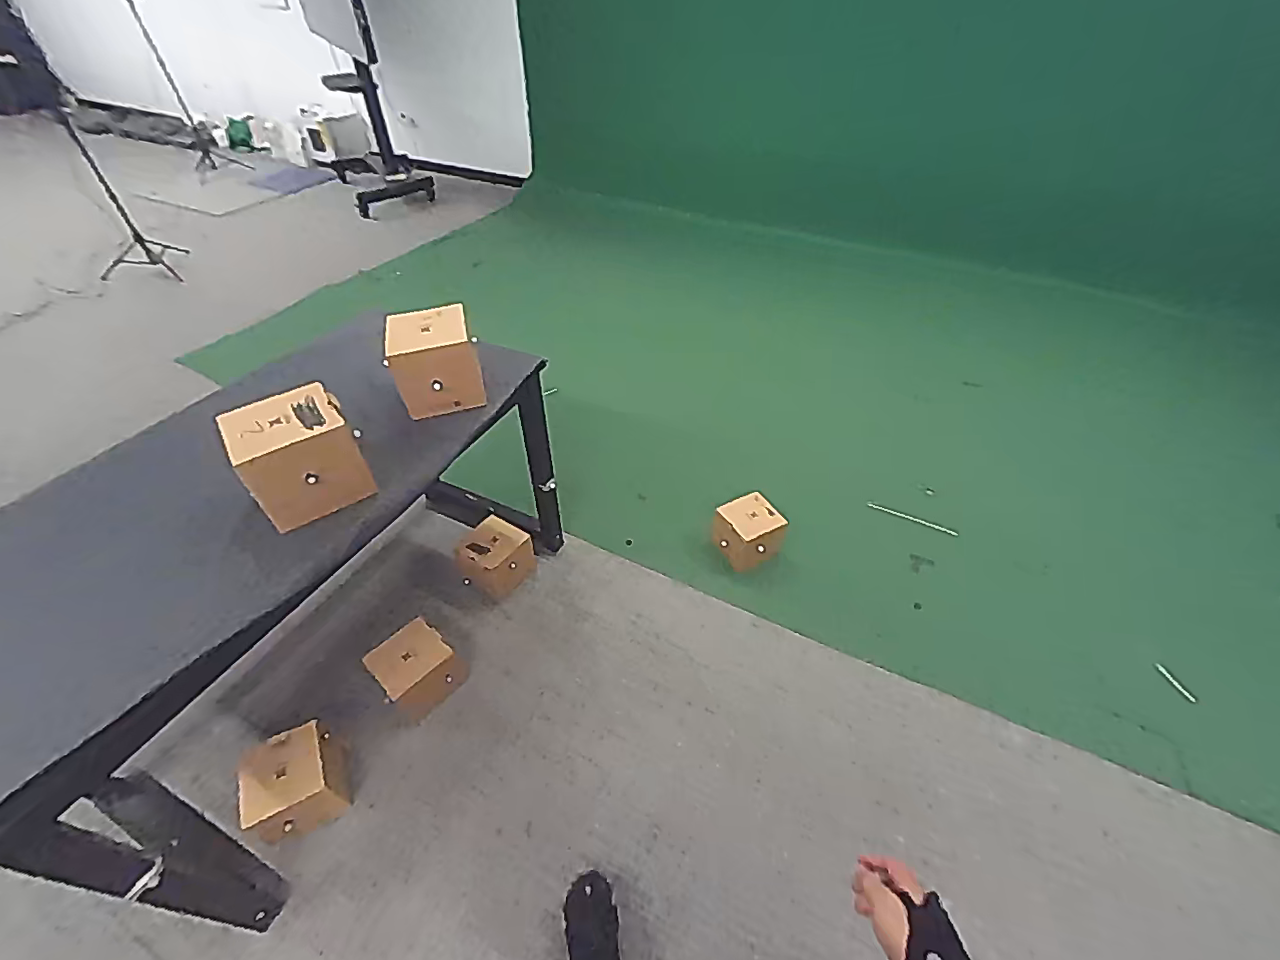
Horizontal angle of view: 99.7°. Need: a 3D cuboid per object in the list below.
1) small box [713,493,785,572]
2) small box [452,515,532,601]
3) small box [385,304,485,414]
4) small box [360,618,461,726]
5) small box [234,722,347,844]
[{"bbox_3d":[0.359,0.180,1.817,0.179,0.176,0.168,-21,48,-20],"label":"small box"},{"bbox_3d":[-0.461,0.251,1.718,0.168,0.176,0.179,25,48,21],"label":"small box"},{"bbox_3d":[-0.448,-0.263,1.196,0.168,0.176,0.179,-13,46,-11],"label":"small box"},{"bbox_3d":[-0.603,0.514,1.447,0.168,0.176,0.179,31,53,28],"label":"small box"},{"bbox_3d":[-0.802,0.705,1.249,0.168,0.176,0.179,-22,49,-22],"label":"small box"}]
